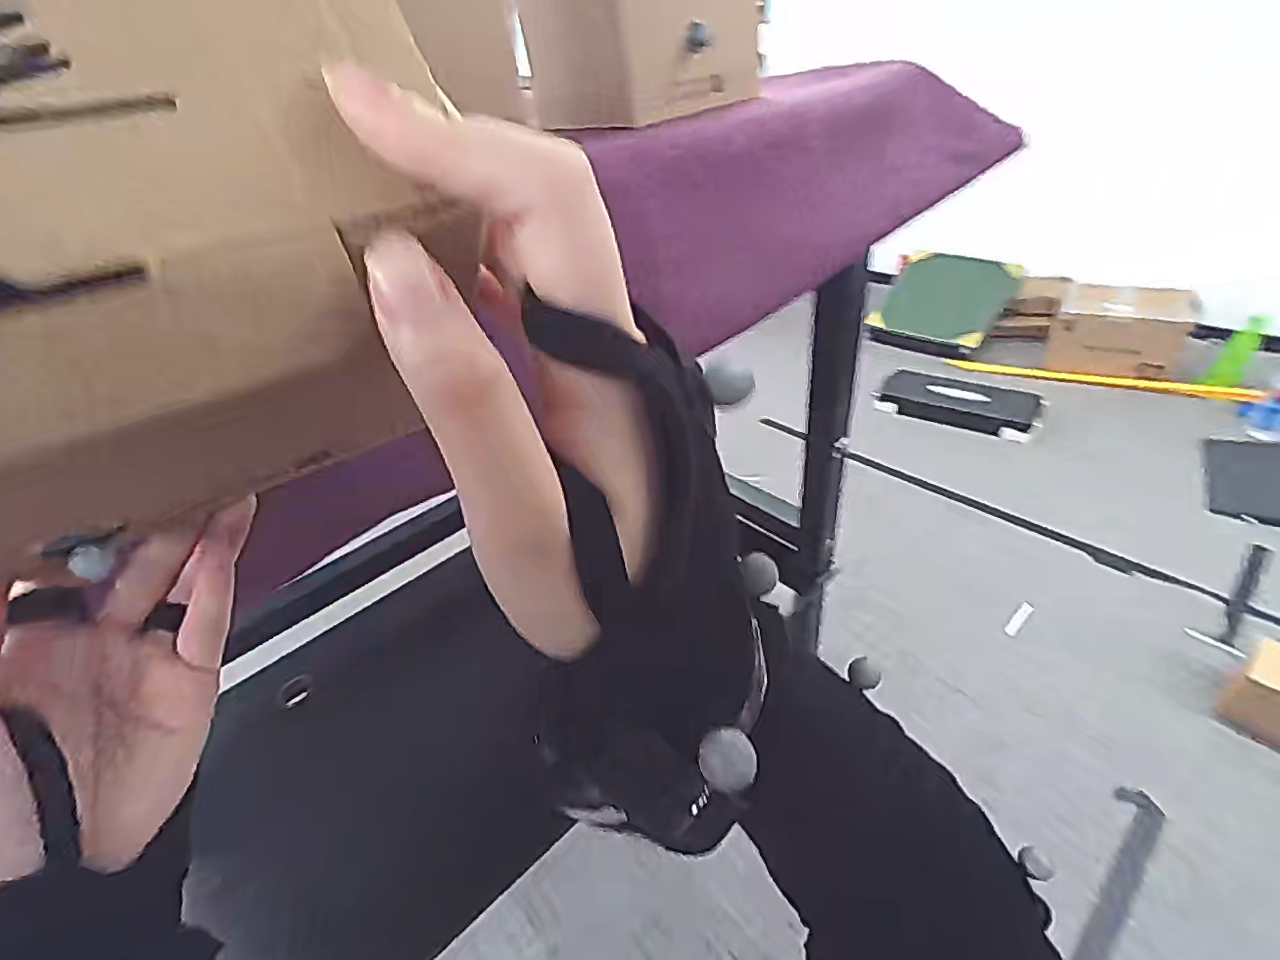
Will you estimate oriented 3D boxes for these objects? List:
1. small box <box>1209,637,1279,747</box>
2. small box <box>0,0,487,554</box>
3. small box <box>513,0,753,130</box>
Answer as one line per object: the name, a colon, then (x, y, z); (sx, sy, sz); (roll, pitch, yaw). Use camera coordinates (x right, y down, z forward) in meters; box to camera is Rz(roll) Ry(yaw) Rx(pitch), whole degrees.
small box: (1.580, 0.535, 1.335); (0.168, 0.176, 0.179); (-34, 44, -29)
small box: (-0.159, -0.087, 0.145); (0.168, 0.179, 0.176); (-27, 1, -24)
small box: (-0.012, -0.444, 0.513); (0.168, 0.176, 0.179); (-31, 42, -25)
